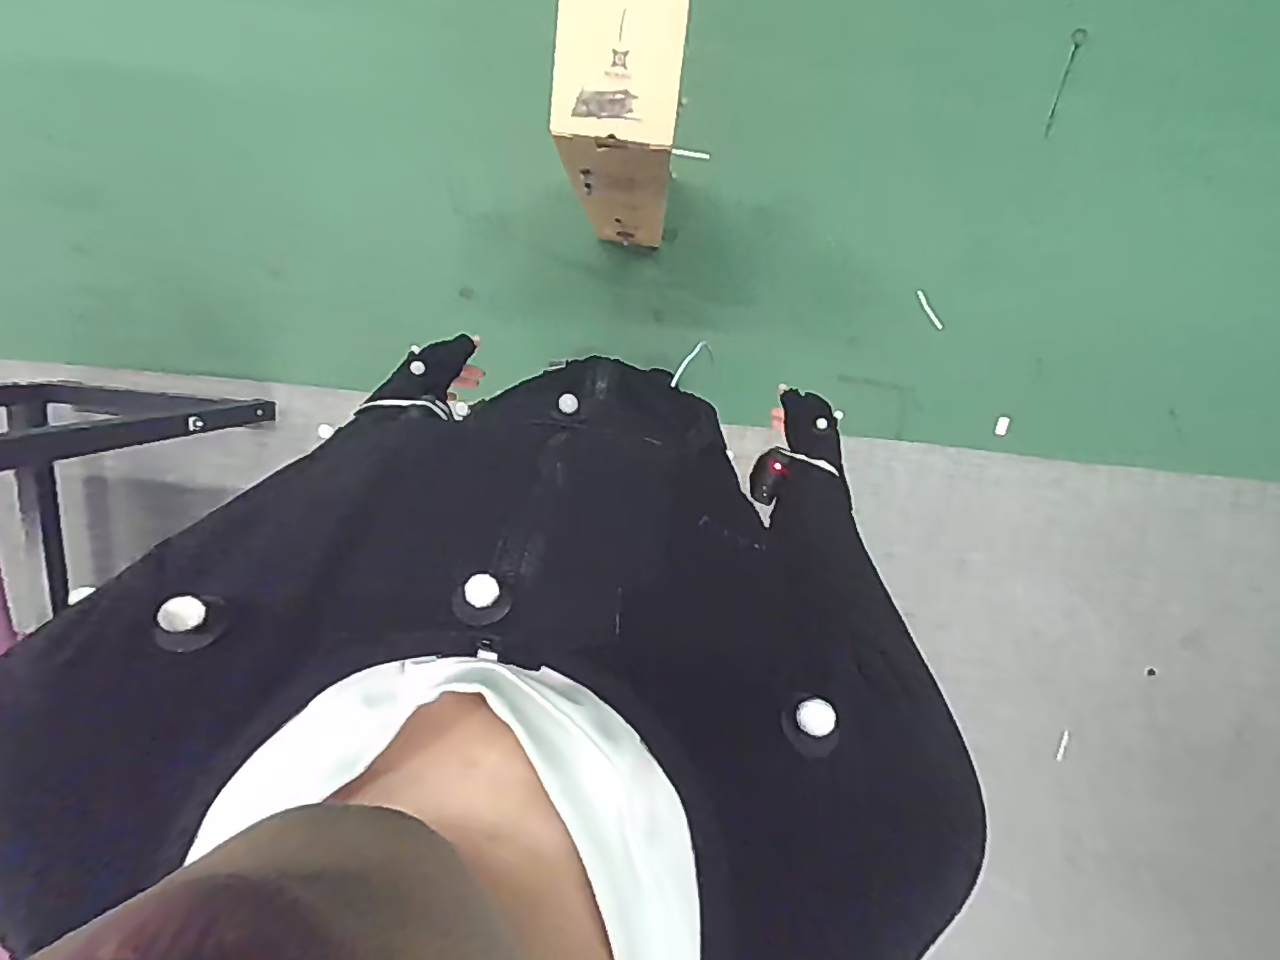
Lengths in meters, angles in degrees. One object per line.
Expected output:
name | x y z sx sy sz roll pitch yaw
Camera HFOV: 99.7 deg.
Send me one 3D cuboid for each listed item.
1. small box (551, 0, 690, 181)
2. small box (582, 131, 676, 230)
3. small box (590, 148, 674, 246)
small box | -0.026 -0.552 0.775 0.168 0.176 0.179 7 102 -2
small box | -0.022 -0.628 1.096 0.168 0.176 0.179 6 103 -1
small box | -0.019 -0.663 1.254 0.168 0.176 0.179 8 103 -1
